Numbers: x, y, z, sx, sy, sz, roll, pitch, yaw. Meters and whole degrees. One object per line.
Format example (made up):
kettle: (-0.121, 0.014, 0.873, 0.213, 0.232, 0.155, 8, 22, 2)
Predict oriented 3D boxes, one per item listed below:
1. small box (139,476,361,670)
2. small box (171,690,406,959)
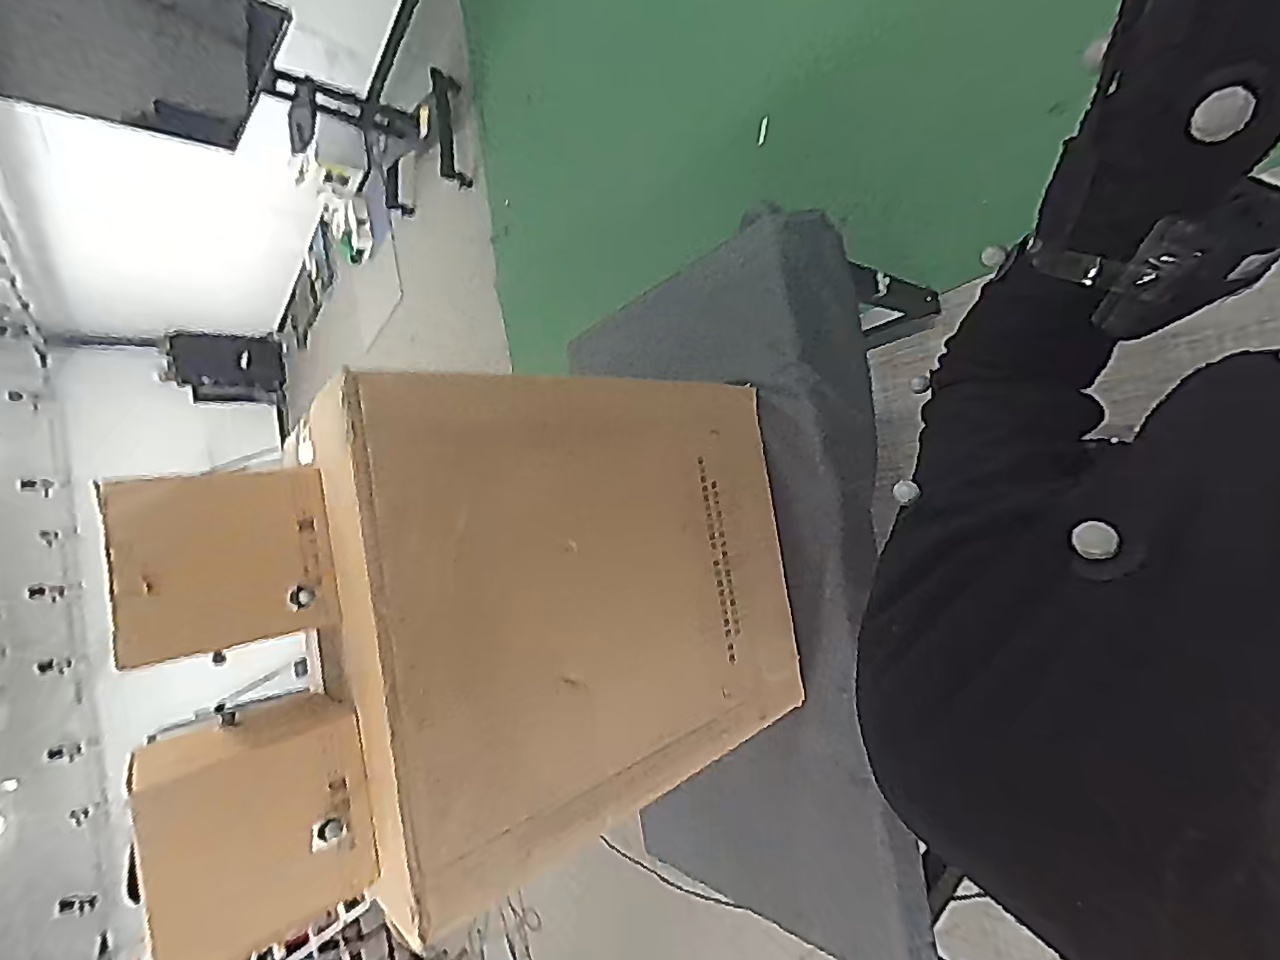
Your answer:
small box: (-0.414, 0.097, 0.584, 0.179, 0.176, 0.168, -22, 78, 48)
small box: (-0.359, 0.330, 0.554, 0.179, 0.176, 0.168, -15, 85, 47)
